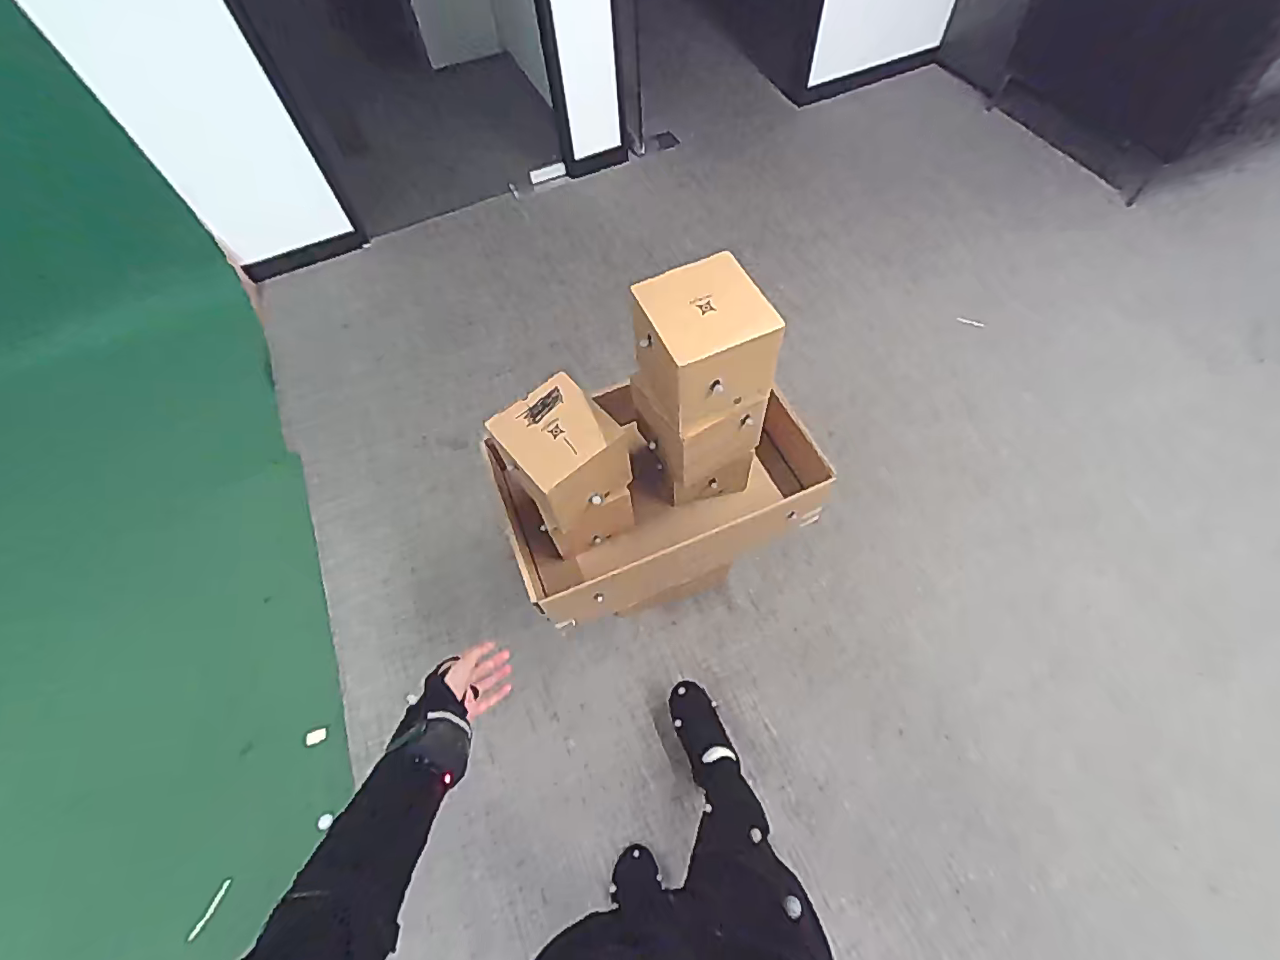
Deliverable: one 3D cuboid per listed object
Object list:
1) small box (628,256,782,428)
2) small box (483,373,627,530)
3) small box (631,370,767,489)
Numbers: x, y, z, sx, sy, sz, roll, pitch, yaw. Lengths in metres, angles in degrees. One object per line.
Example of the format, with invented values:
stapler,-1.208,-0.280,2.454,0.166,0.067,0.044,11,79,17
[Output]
small box,0.095,-0.203,0.835,0.168,0.176,0.179,-22,61,-8
small box,-0.139,-0.044,0.941,0.168,0.176,0.179,-37,66,-16
small box,0.099,-0.116,0.971,0.179,0.176,0.168,-29,62,-12
